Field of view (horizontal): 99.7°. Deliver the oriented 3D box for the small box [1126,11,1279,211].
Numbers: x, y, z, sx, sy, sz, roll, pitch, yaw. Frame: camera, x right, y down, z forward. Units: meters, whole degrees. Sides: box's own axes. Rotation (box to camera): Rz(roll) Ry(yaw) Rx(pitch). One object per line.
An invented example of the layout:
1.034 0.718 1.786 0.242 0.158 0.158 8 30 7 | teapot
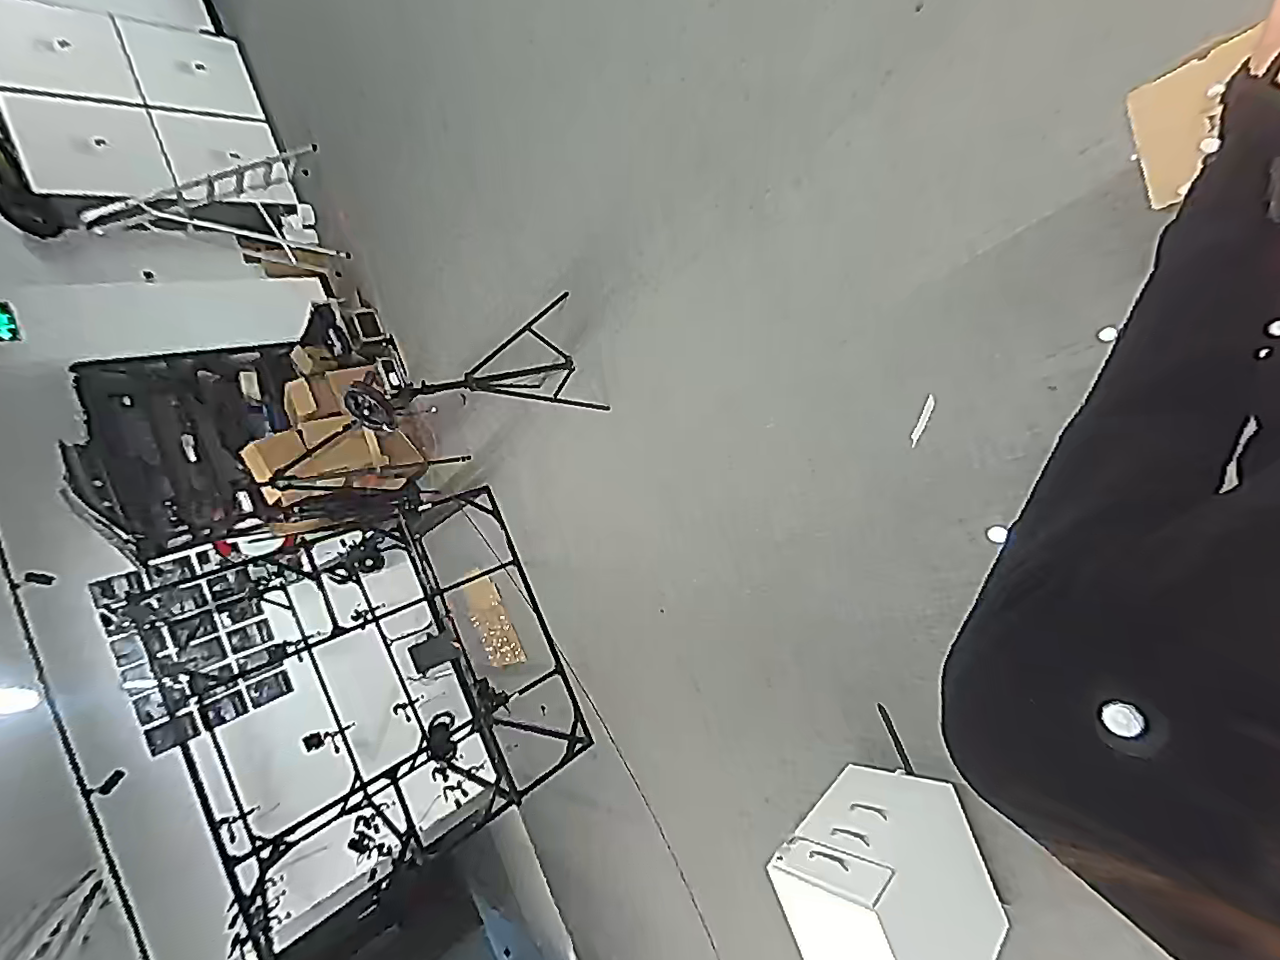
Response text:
0.835 -0.510 0.774 0.168 0.176 0.179 -13 96 53 | small box
